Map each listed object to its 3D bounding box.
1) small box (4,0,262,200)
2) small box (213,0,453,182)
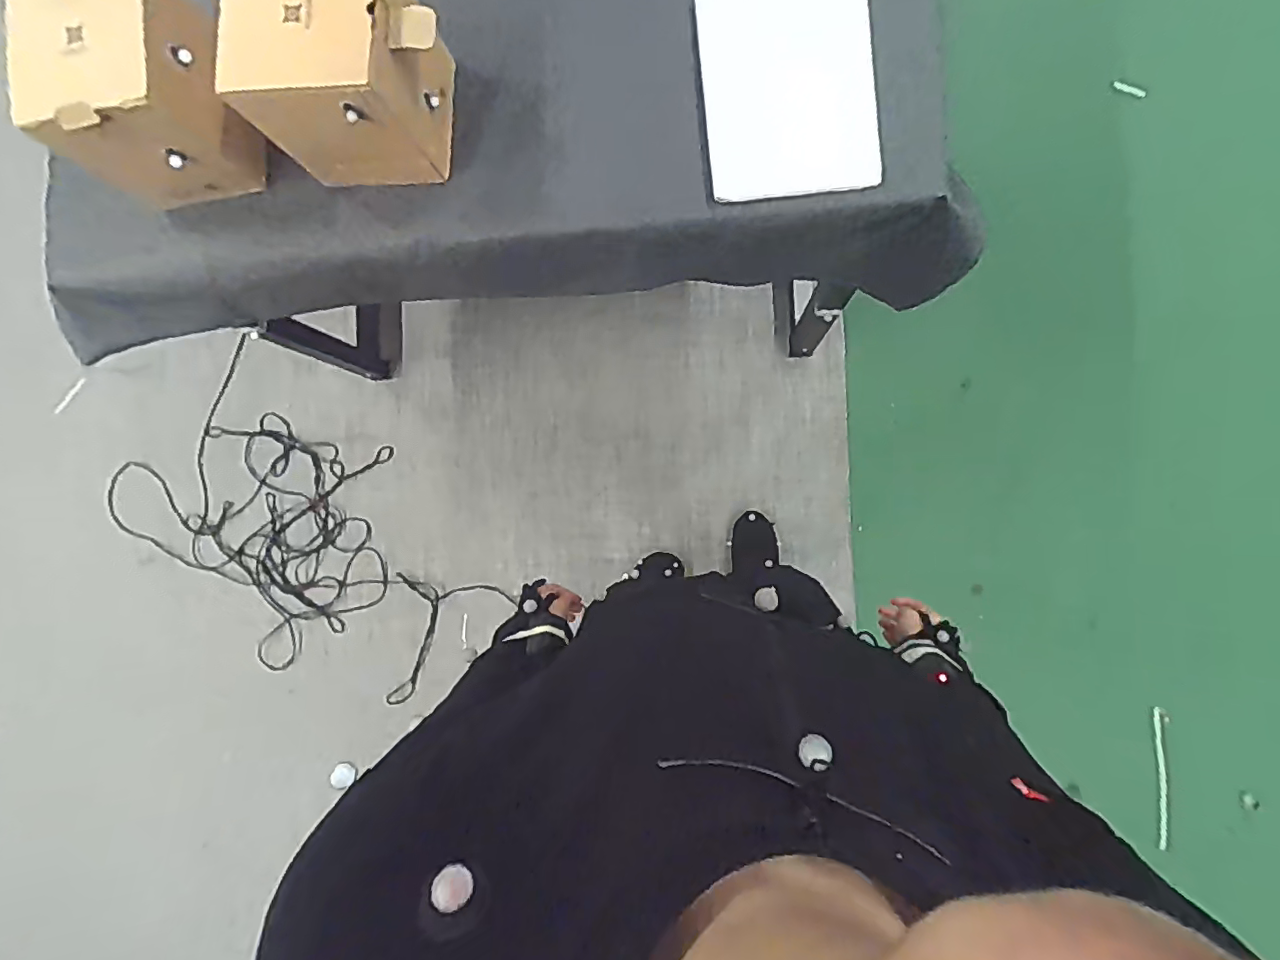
[{"bbox_3d":[-0.601,-0.471,0.662,0.168,0.176,0.179,-7,85,5],"label":"small box"},{"bbox_3d":[-0.343,-0.474,0.632,0.179,0.176,0.168,1,87,6],"label":"small box"}]
